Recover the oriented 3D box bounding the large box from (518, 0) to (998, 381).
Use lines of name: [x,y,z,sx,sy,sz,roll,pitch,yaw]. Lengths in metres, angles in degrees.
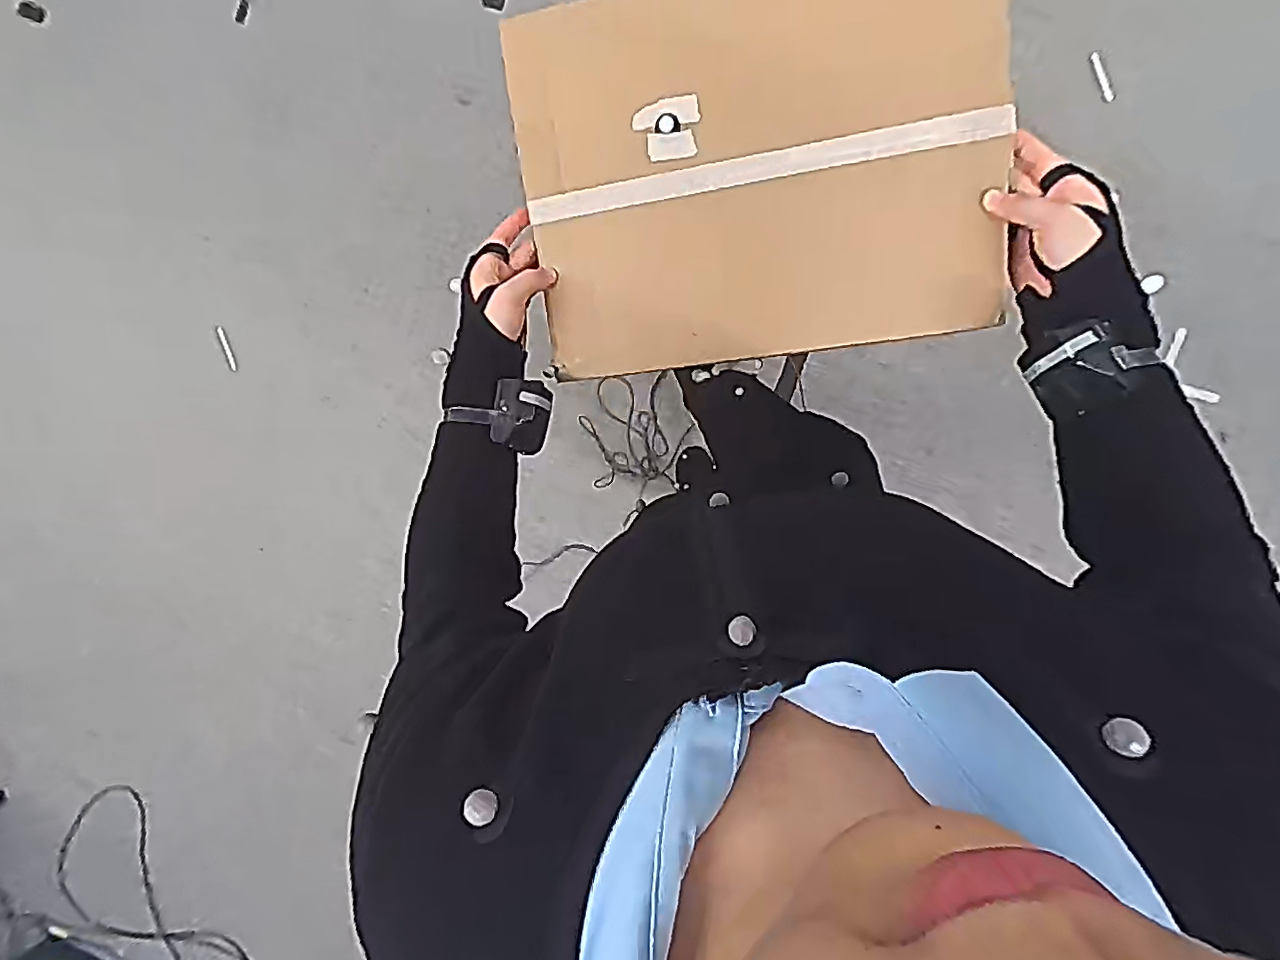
large box: [0.127,-0.304,0.625,0.408,0.320,0.320,-5,102,11]
